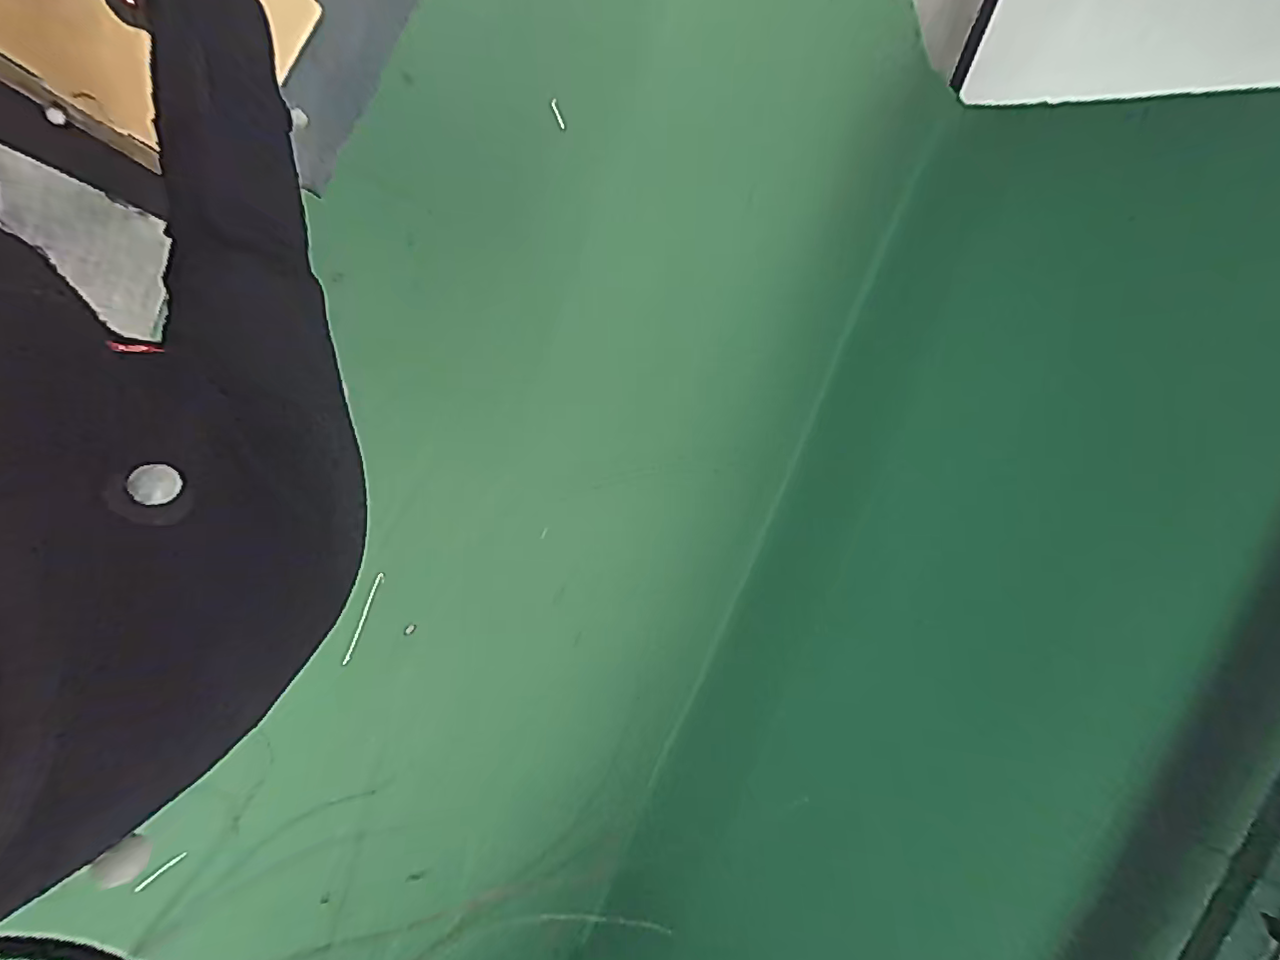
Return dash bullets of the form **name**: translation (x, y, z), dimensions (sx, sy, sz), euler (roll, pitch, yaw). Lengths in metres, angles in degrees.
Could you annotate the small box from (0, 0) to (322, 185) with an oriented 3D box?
- **small box**: translation (-0.399, -0.371, 0.429), dimensions (0.168, 0.176, 0.179), euler (29, 90, -51)
